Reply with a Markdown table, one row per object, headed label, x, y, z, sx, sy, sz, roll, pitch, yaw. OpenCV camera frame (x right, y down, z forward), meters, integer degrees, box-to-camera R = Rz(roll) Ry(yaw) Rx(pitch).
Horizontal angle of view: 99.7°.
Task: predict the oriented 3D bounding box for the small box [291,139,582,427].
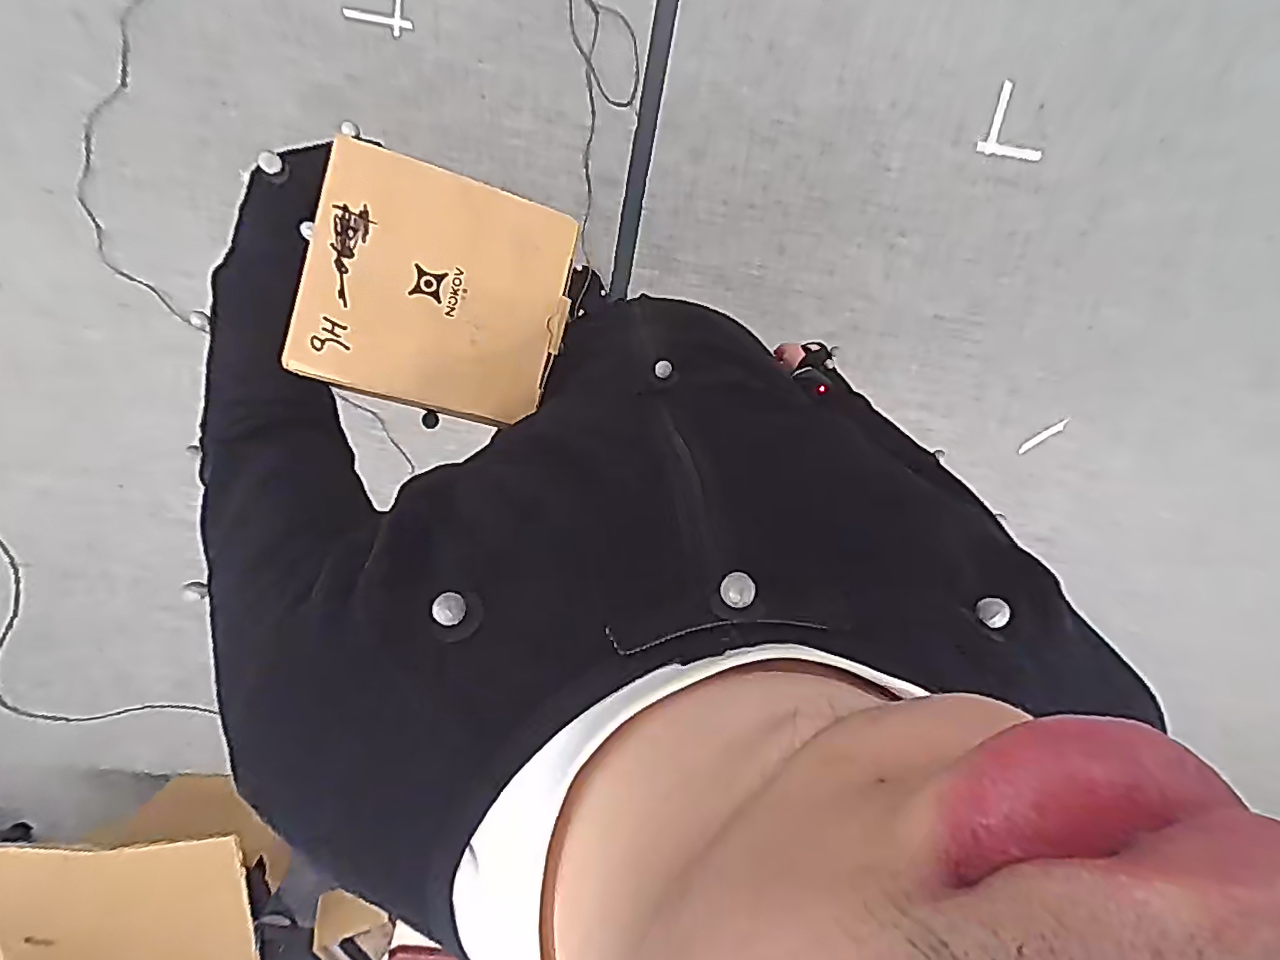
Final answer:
| label | x | y | z | sx | sy | sz | roll | pitch | yaw |
| --- | --- | --- | --- | --- | --- | --- | --- | --- | --- |
| small box | -0.166 | -0.146 | 0.476 | 0.179 | 0.176 | 0.168 | 13 | 90 | -17 |
